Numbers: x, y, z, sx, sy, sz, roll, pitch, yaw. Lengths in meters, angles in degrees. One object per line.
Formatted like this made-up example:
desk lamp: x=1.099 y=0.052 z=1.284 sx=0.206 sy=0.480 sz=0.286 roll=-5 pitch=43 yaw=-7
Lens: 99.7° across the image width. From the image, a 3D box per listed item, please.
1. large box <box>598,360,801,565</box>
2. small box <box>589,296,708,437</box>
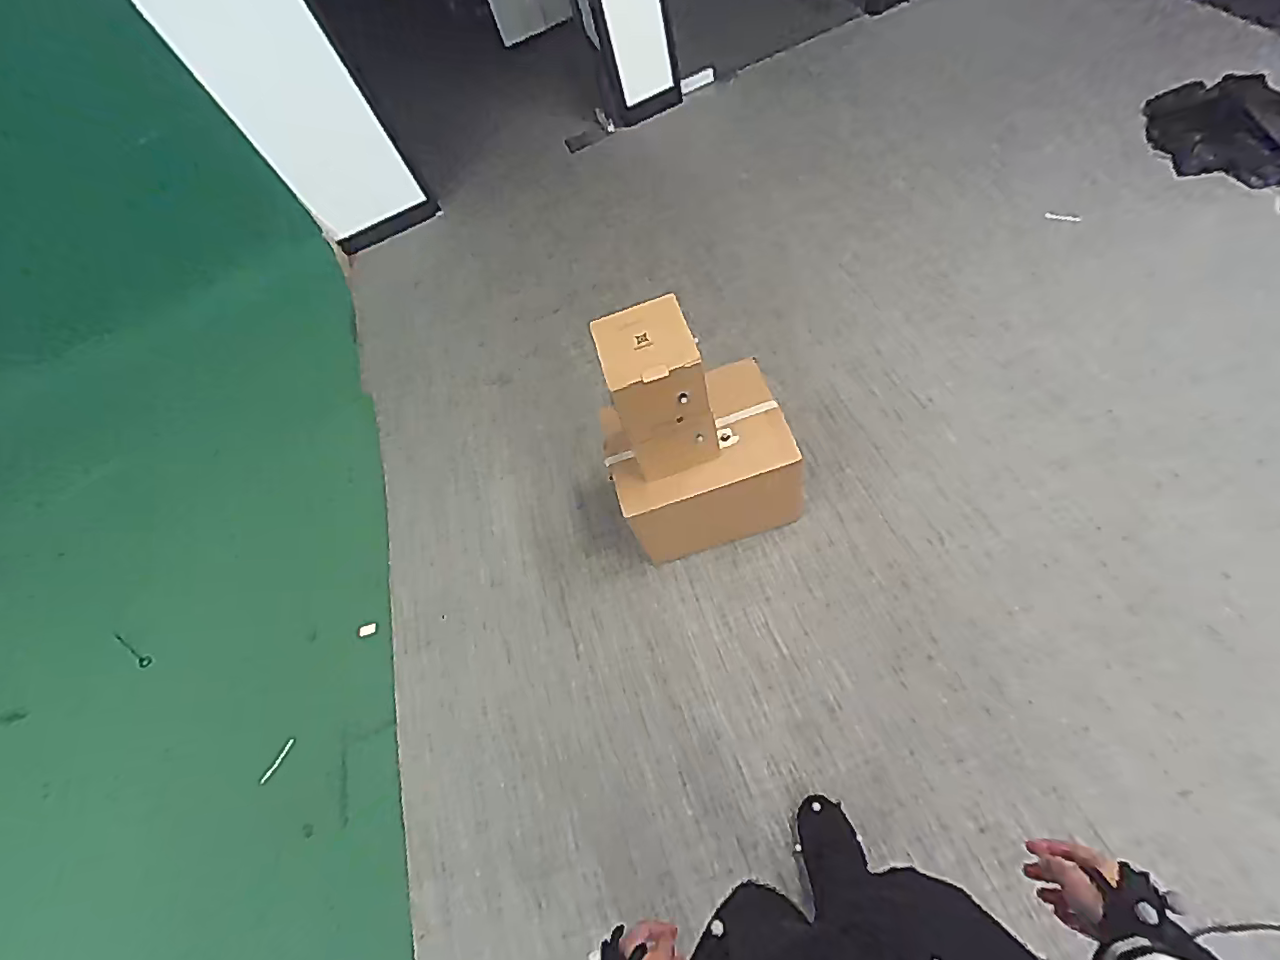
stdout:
large box: x=0.150 y=-0.030 z=1.356 sx=0.408 sy=0.320 sz=0.320 roll=-18 pitch=59 yaw=3
small box: x=0.020 y=-0.199 z=1.006 sx=0.168 sy=0.176 sz=0.179 roll=-18 pitch=58 yaw=2
